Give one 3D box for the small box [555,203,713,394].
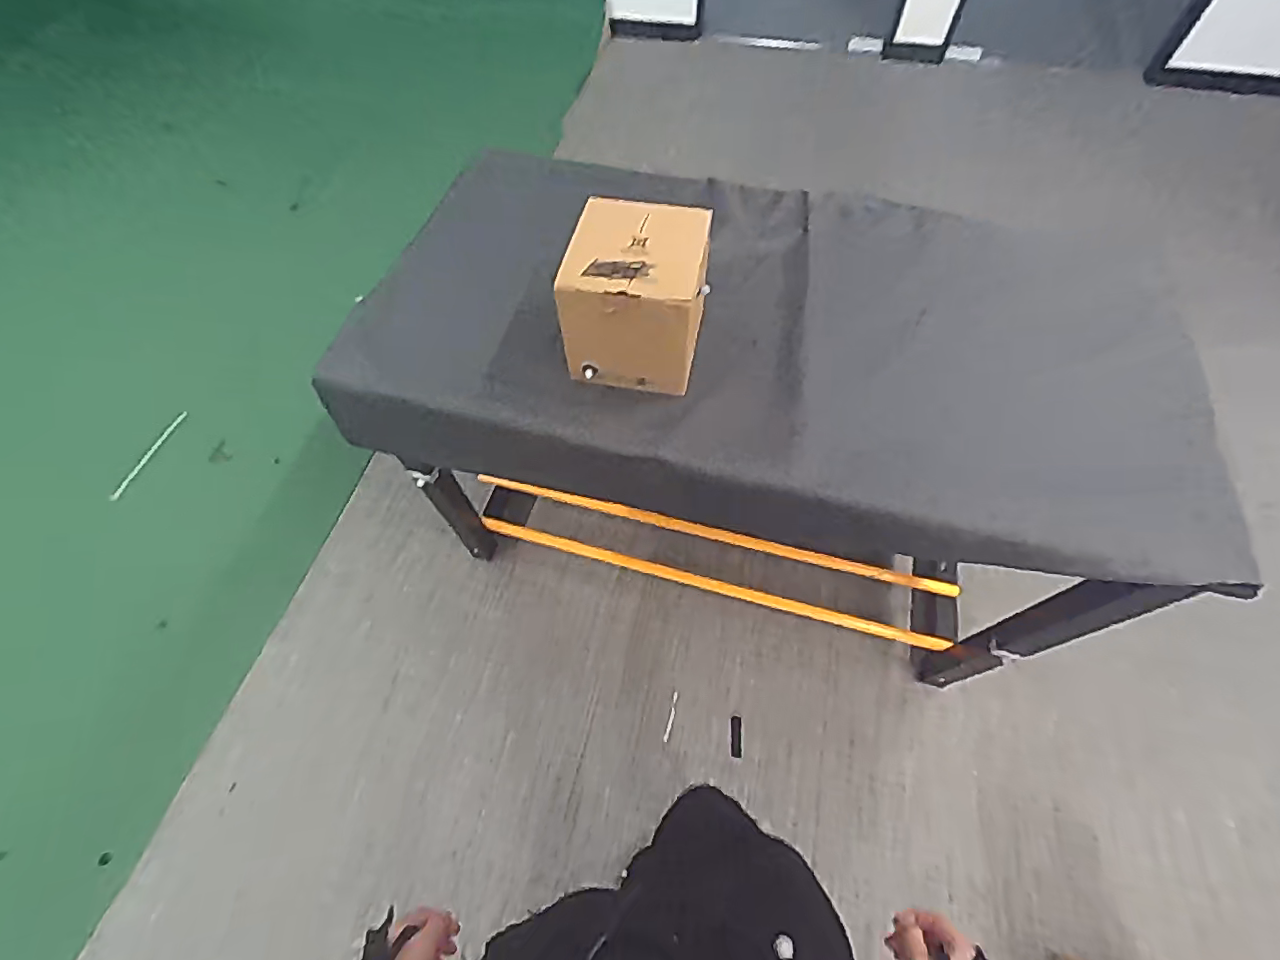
[{"bbox_3d":[-0.001,-0.239,0.730,0.168,0.176,0.179,10,60,7],"label":"small box"}]
